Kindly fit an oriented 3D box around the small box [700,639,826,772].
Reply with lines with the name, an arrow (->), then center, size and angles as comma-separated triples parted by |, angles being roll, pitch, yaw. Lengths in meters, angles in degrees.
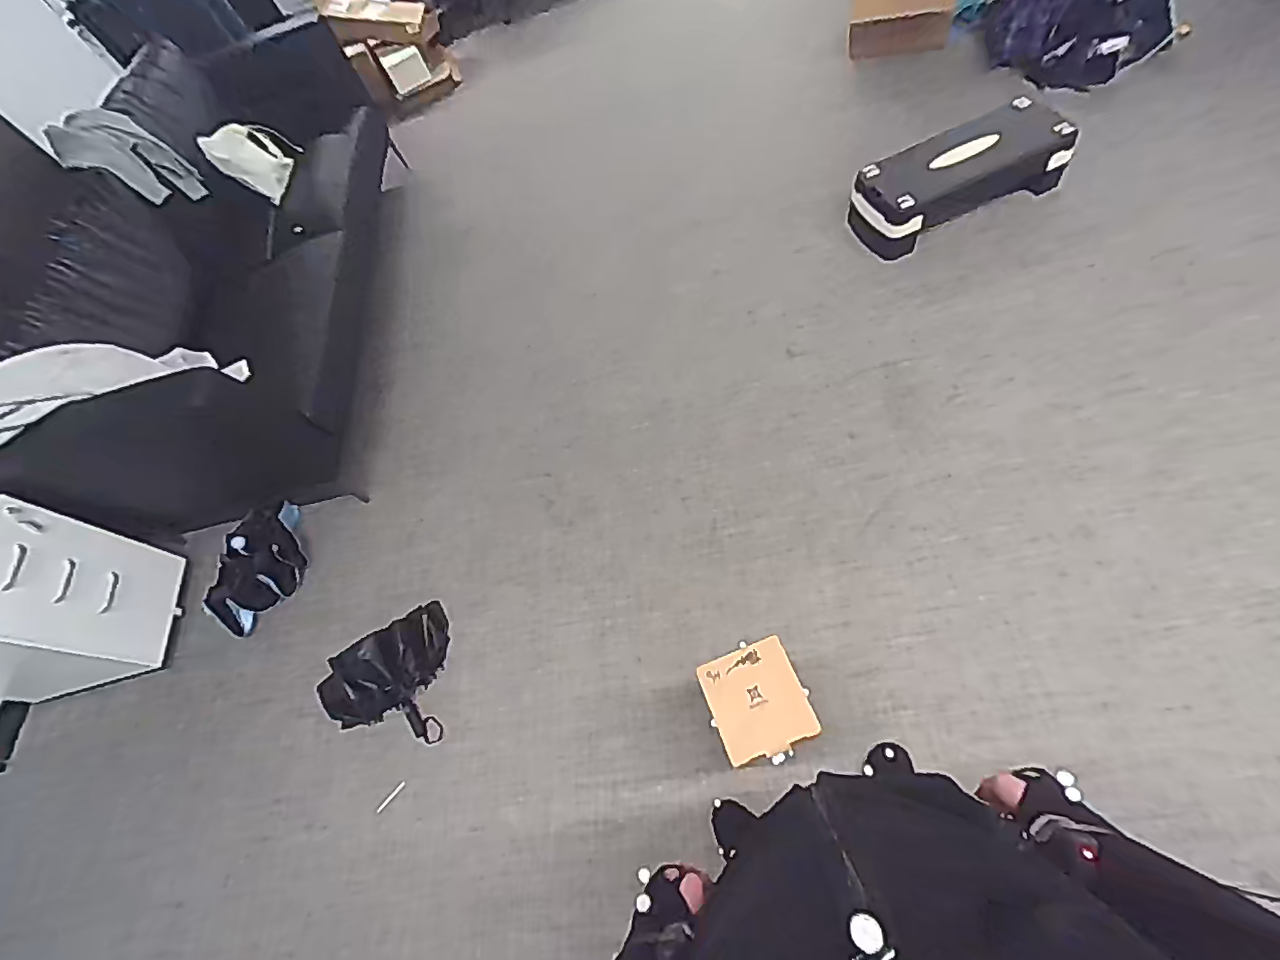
small box -> 0.230, 0.422, 1.012 | 0.168, 0.176, 0.179 | -24, 61, 3
